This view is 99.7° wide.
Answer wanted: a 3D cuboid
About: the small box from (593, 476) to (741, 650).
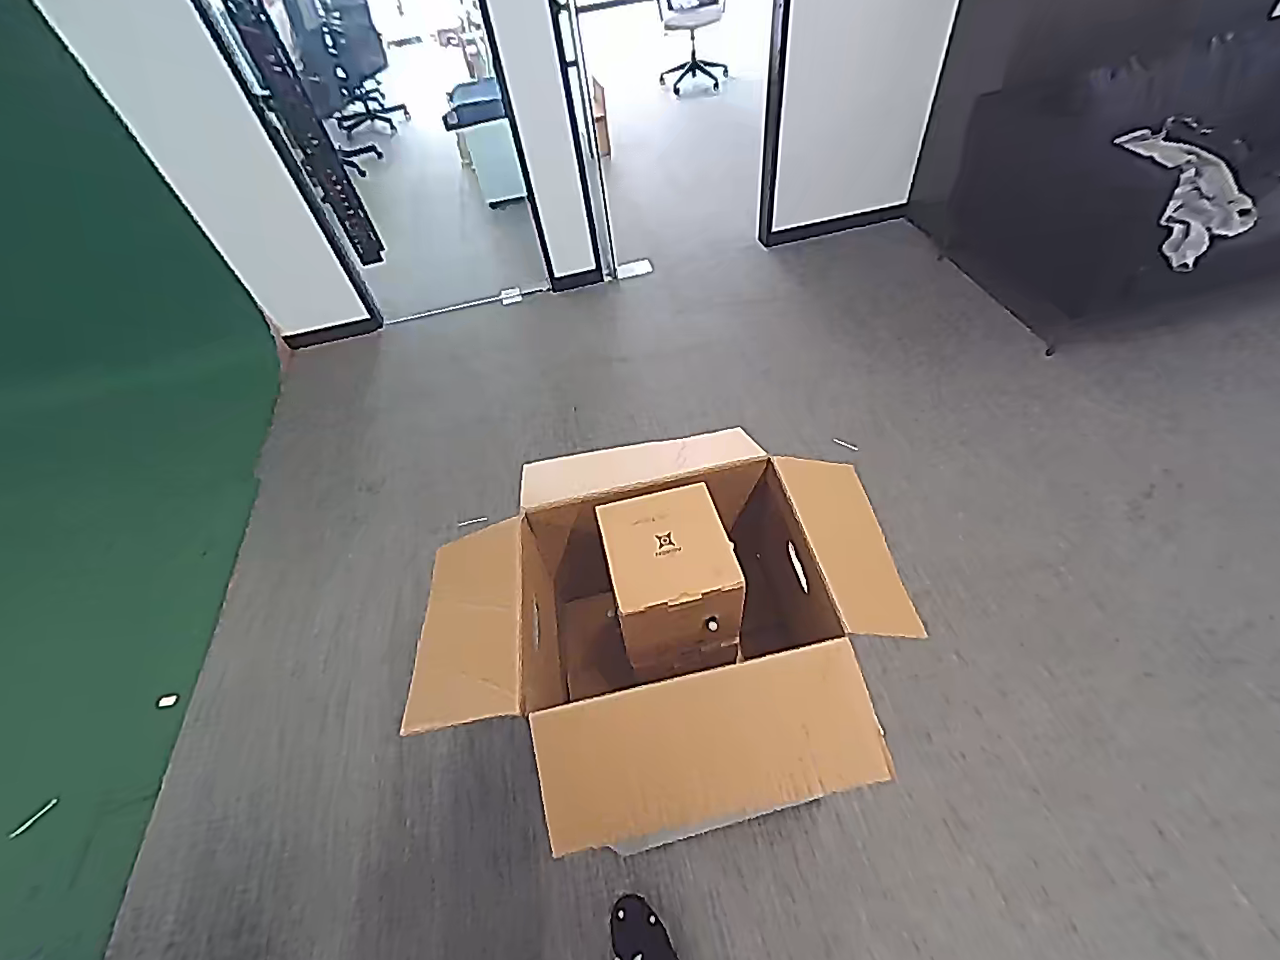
[{"bbox_3d":[0.036,0.125,0.774,0.168,0.176,0.179,-12,49,-6],"label":"small box"}]
